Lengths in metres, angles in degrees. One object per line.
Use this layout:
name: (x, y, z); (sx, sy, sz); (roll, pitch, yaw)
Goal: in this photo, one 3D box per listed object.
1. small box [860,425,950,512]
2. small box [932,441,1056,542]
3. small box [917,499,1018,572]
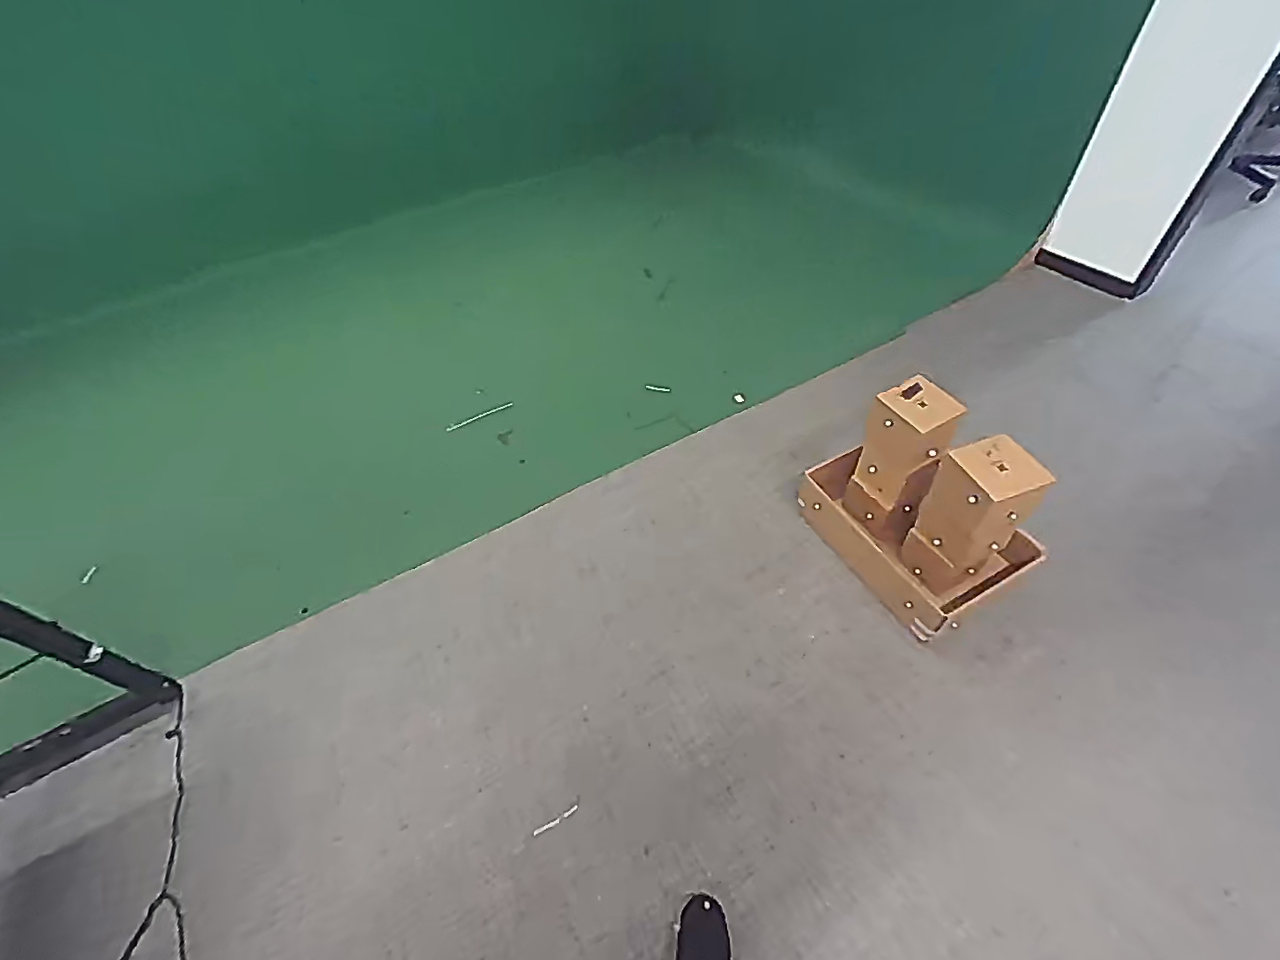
small box: (0.804, -0.031, 1.664); (0.179, 0.176, 0.168); (-26, 53, -14)
small box: (0.881, 0.037, 1.366); (0.168, 0.176, 0.179); (-17, 48, -5)
small box: (0.910, 0.133, 1.499); (0.168, 0.176, 0.179); (-23, 50, -11)
